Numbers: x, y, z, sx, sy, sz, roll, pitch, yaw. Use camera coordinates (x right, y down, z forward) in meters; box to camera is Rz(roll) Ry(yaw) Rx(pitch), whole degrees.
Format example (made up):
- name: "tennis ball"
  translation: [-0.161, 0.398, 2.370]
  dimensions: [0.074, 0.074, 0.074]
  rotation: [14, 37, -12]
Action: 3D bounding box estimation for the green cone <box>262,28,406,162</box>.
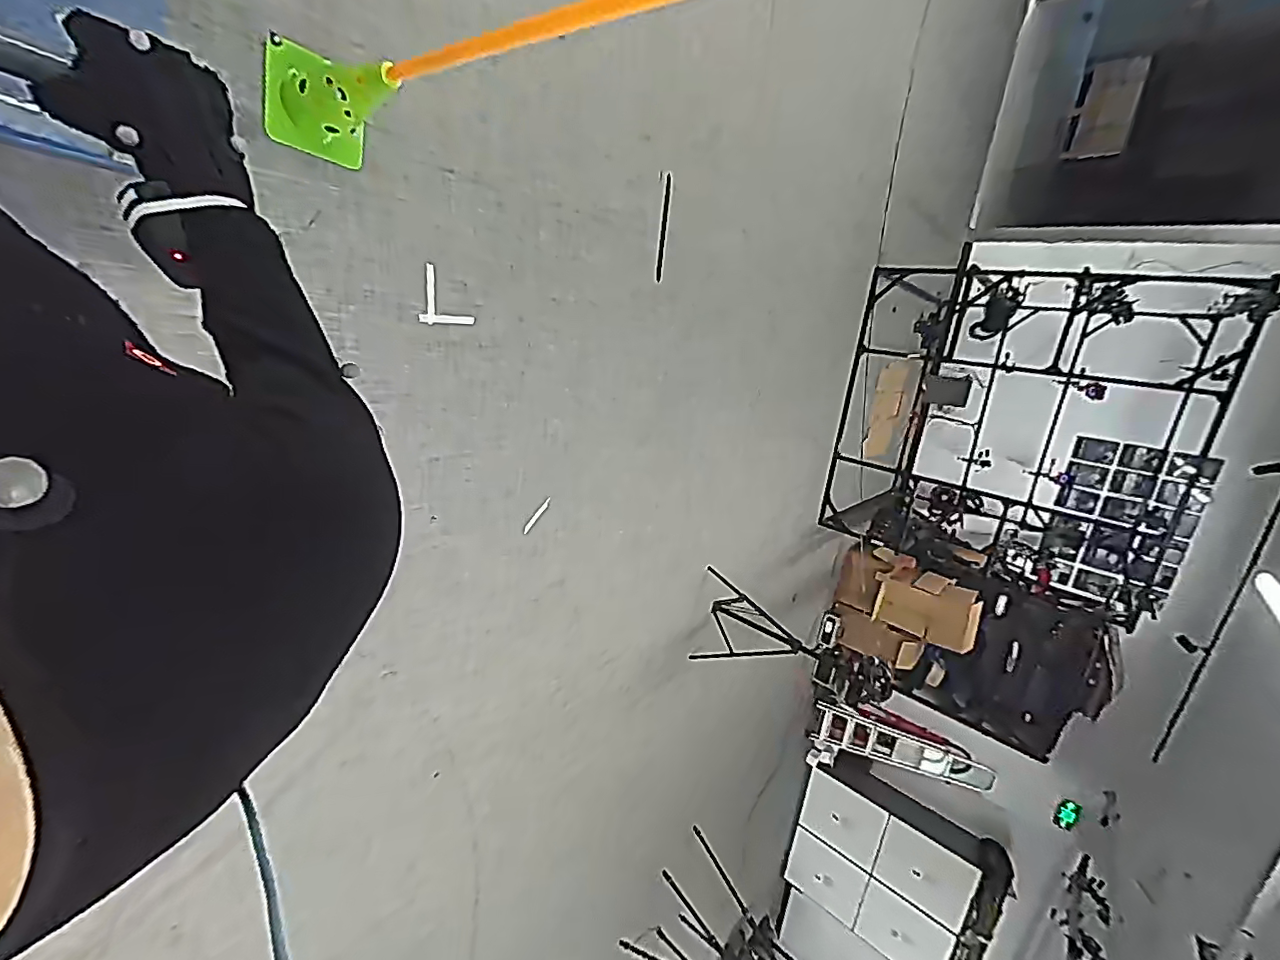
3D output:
- name: "green cone"
  translation: [-0.588, -0.796, 1.094]
  dimensions: [0.202, 0.368, 0.200]
  rotation: [-7, 111, -51]
